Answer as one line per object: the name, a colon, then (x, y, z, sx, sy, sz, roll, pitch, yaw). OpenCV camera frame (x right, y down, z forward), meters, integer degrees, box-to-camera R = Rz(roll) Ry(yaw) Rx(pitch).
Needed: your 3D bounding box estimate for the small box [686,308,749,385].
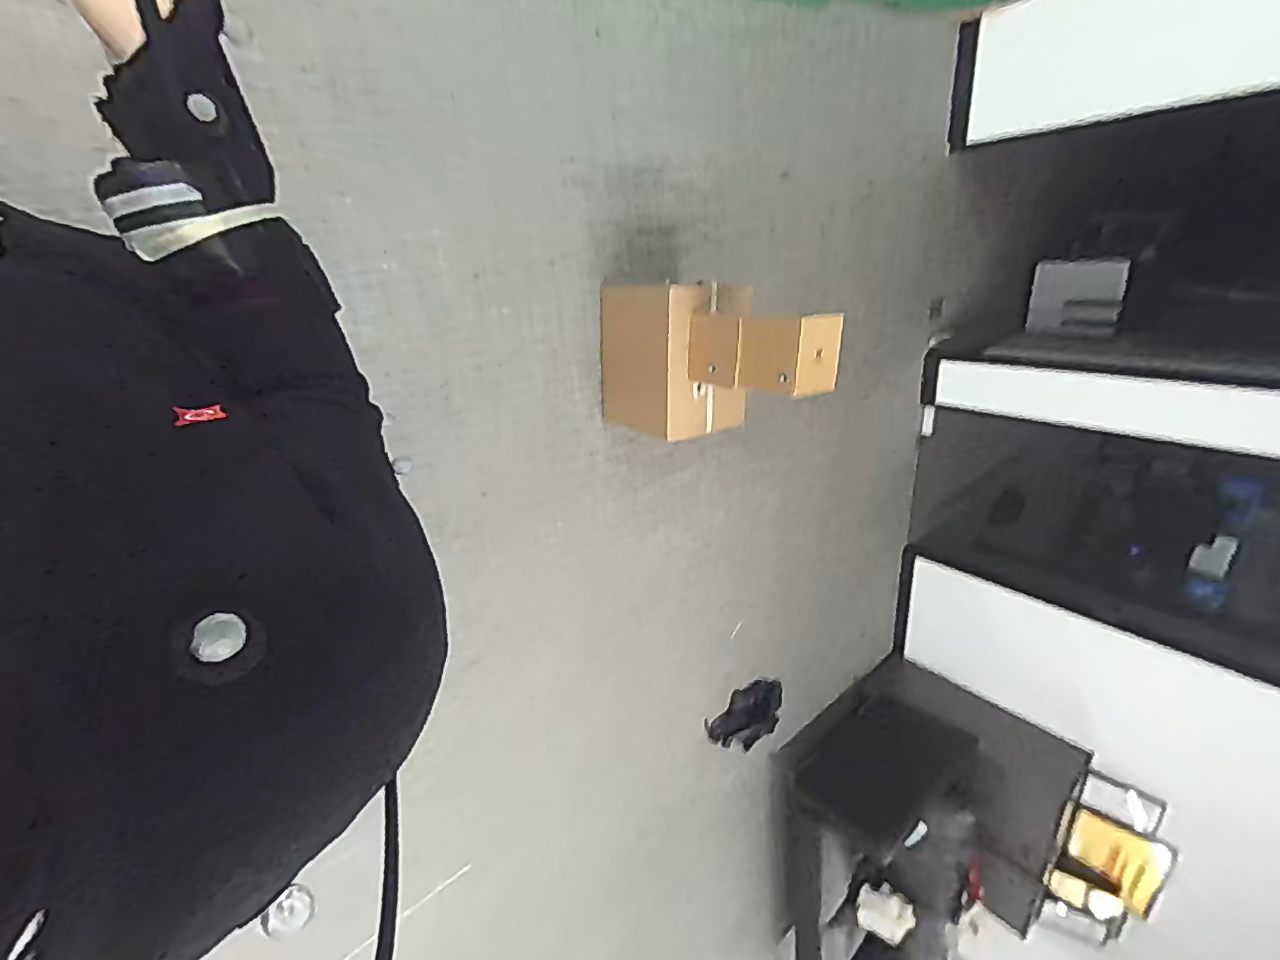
small box: (0.232, -0.351, 1.400, 0.168, 0.176, 0.179, -16, 114, -37)

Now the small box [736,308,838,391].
small box: (0.346, -0.317, 1.288, 0.168, 0.176, 0.179, -17, 116, -37)

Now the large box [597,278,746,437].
large box: (0.086, -0.378, 1.597, 0.320, 0.320, 0.408, -16, 116, -35)
